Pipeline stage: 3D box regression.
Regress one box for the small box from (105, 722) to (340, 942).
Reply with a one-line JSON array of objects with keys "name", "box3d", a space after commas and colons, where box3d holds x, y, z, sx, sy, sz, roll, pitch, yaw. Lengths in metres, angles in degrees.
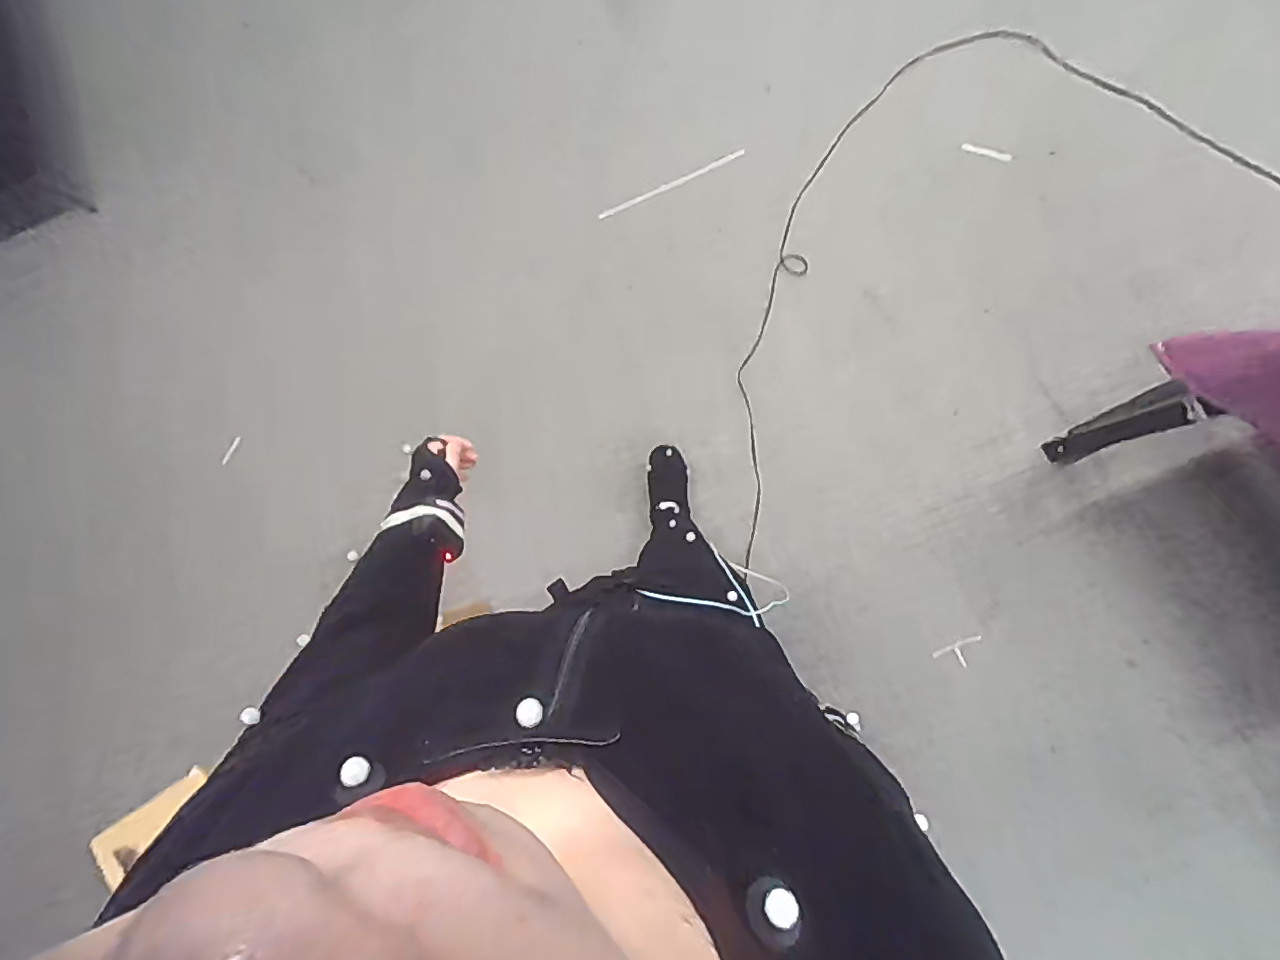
[{"name": "small box", "box3d": [-0.585, 0.488, 0.780, 0.179, 0.176, 0.168, -33, 83, 0]}]
